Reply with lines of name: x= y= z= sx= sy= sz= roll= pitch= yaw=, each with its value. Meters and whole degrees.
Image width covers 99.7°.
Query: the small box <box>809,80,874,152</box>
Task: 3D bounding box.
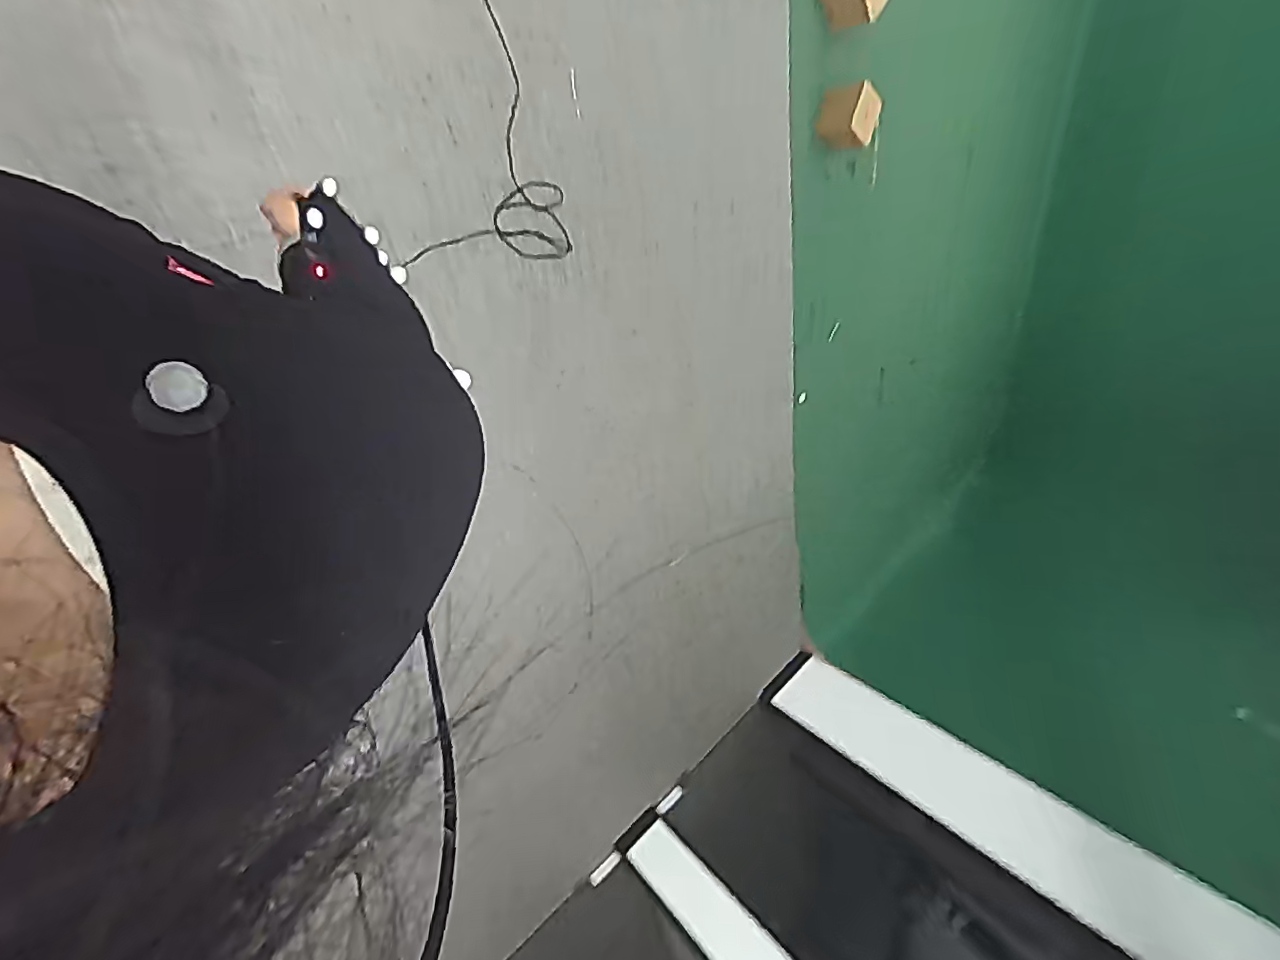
small box: x=0.807 y=-1.457 z=2.179 sx=0.168 sy=0.176 sz=0.179 roll=9 pitch=100 yaw=-46

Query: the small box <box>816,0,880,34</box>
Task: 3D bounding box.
small box: x=0.771 y=-1.807 z=1.995 sx=0.179 sy=0.176 sz=0.168 roll=-57 pitch=135 yaw=-9
